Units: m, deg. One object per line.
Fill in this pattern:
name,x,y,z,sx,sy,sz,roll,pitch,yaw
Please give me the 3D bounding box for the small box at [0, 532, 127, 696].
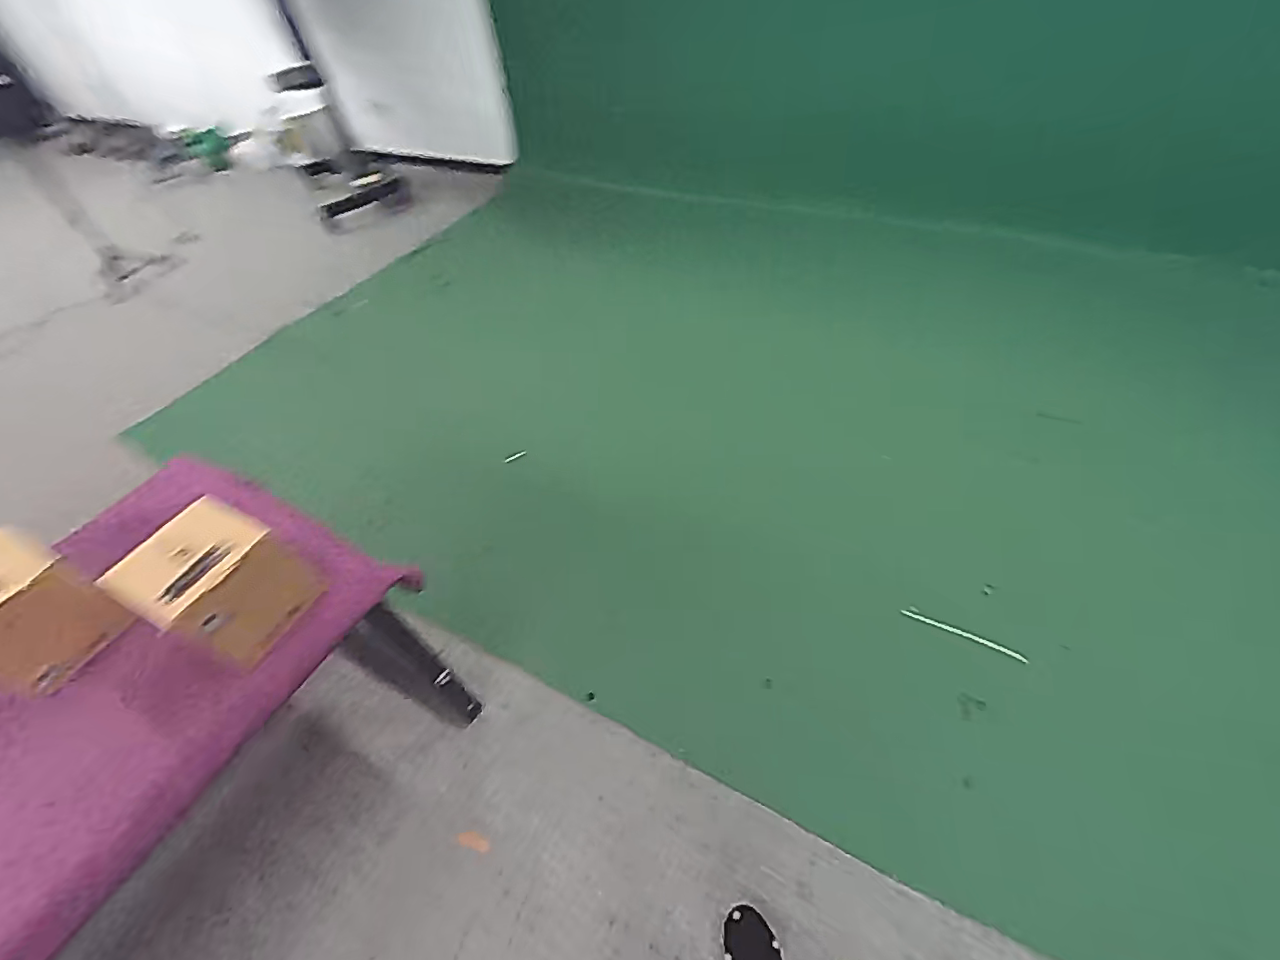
small box,-0.974,0.210,0.840,0.179,0.176,0.168,18,53,21
